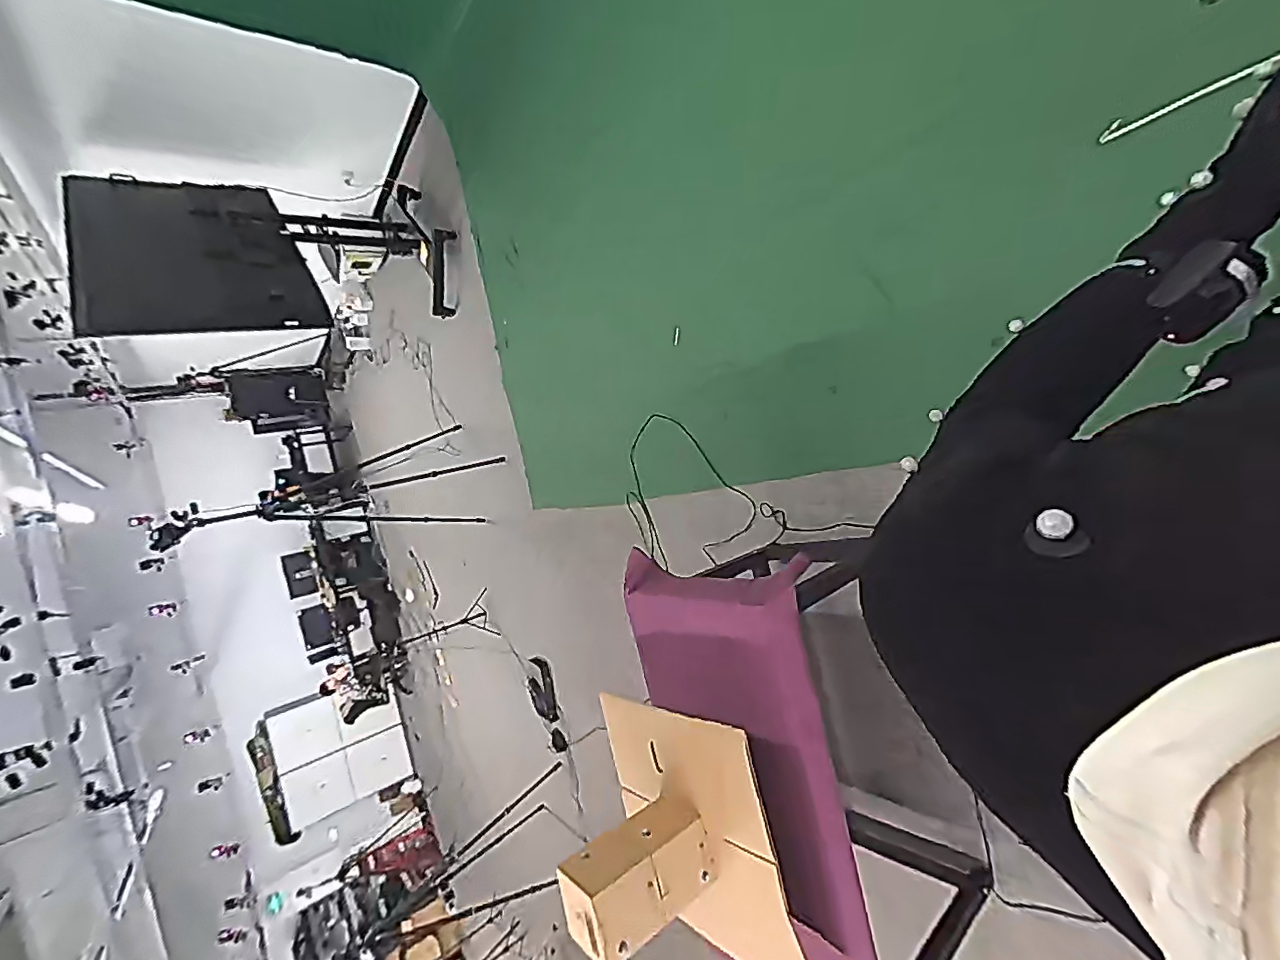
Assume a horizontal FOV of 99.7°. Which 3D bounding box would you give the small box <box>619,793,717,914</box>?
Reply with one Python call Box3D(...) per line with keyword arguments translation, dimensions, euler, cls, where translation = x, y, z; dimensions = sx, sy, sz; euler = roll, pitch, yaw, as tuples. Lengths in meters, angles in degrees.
Box3D(translation=(0.076, 0.935, 1.375), dimensions=(0.179, 0.176, 0.168), euler=(-17, 86, 53), cls="small box")
